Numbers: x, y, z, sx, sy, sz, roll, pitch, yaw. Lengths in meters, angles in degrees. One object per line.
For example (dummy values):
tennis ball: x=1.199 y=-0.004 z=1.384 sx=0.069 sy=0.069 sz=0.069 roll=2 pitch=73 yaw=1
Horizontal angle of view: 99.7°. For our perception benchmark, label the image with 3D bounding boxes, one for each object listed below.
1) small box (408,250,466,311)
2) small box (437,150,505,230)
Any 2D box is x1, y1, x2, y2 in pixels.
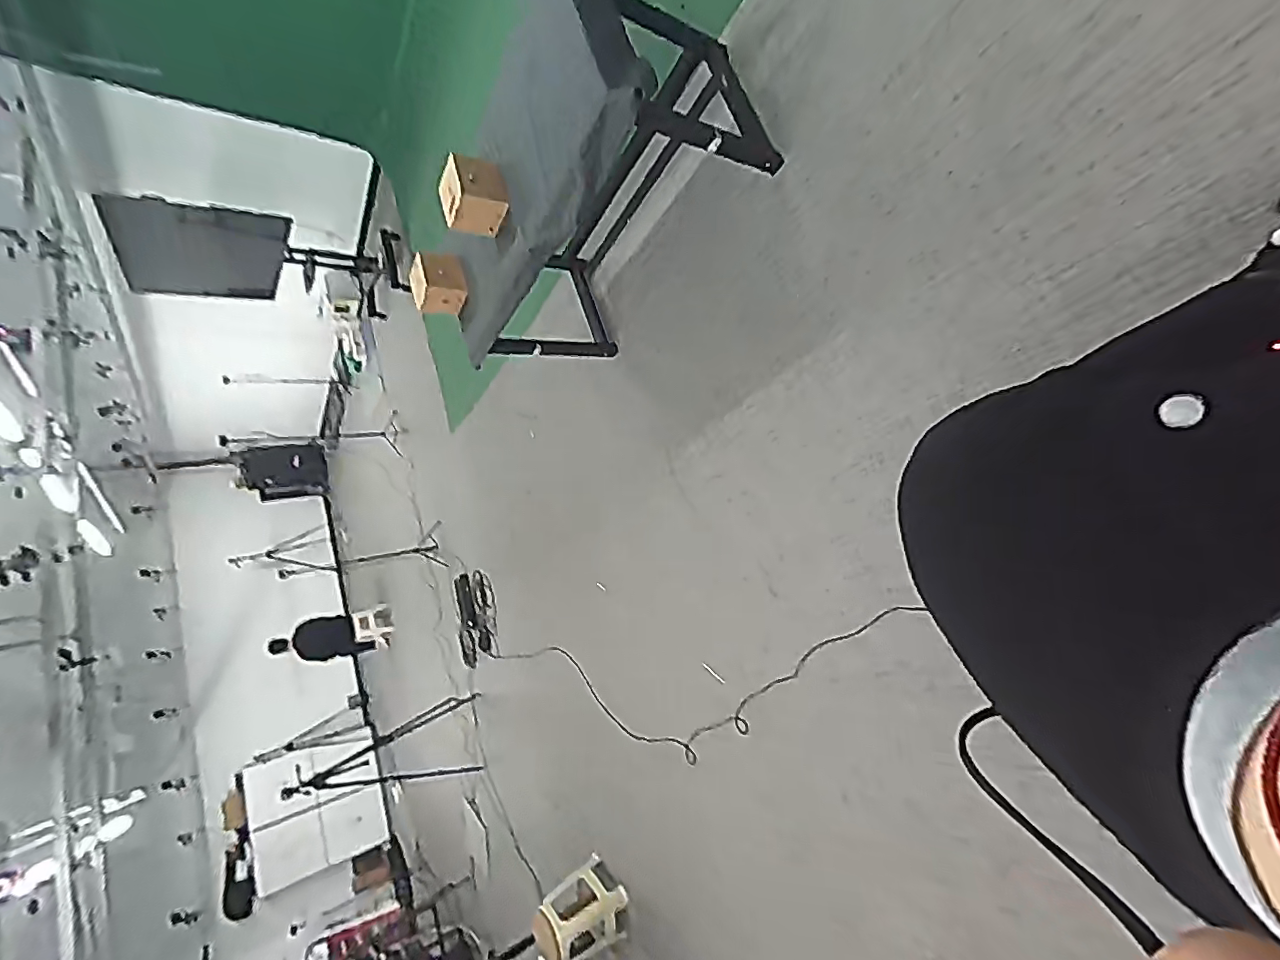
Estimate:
small box: x=-0.834 y=-0.818 z=2.230 sx=0.168 sy=0.176 sz=0.179 roll=-35 pitch=70 yaw=48
small box: x=-0.582 y=-0.992 z=1.868 sx=0.168 sy=0.176 sz=0.179 roll=-33 pitch=70 yaw=50
